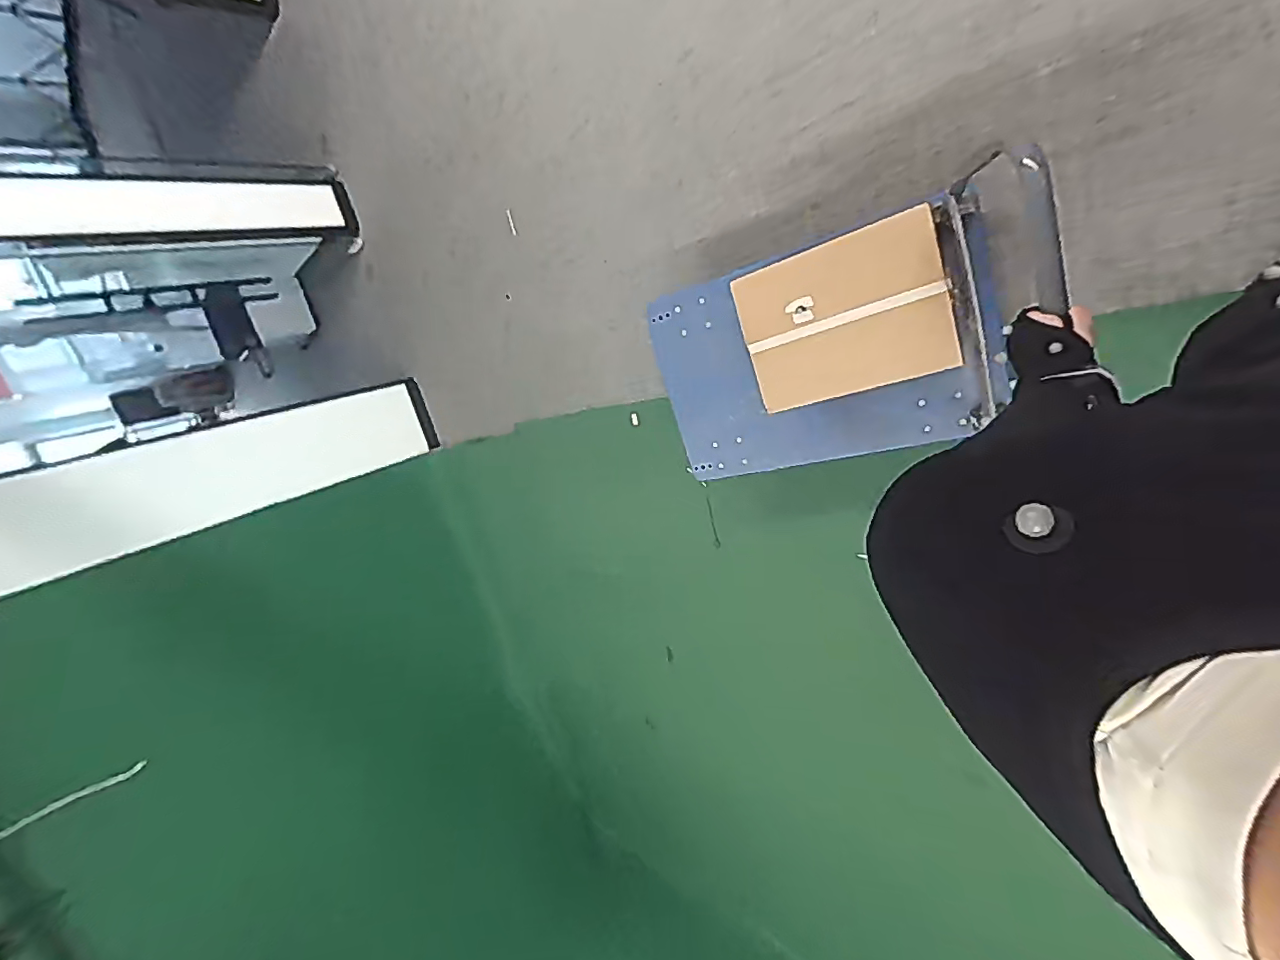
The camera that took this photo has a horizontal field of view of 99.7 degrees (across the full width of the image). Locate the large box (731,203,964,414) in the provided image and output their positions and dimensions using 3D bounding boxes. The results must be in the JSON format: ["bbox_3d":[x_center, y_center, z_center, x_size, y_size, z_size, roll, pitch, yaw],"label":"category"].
[{"bbox_3d":[0.483,-0.380,1.244,0.408,0.320,0.320,-13,101,33],"label":"large box"}]
